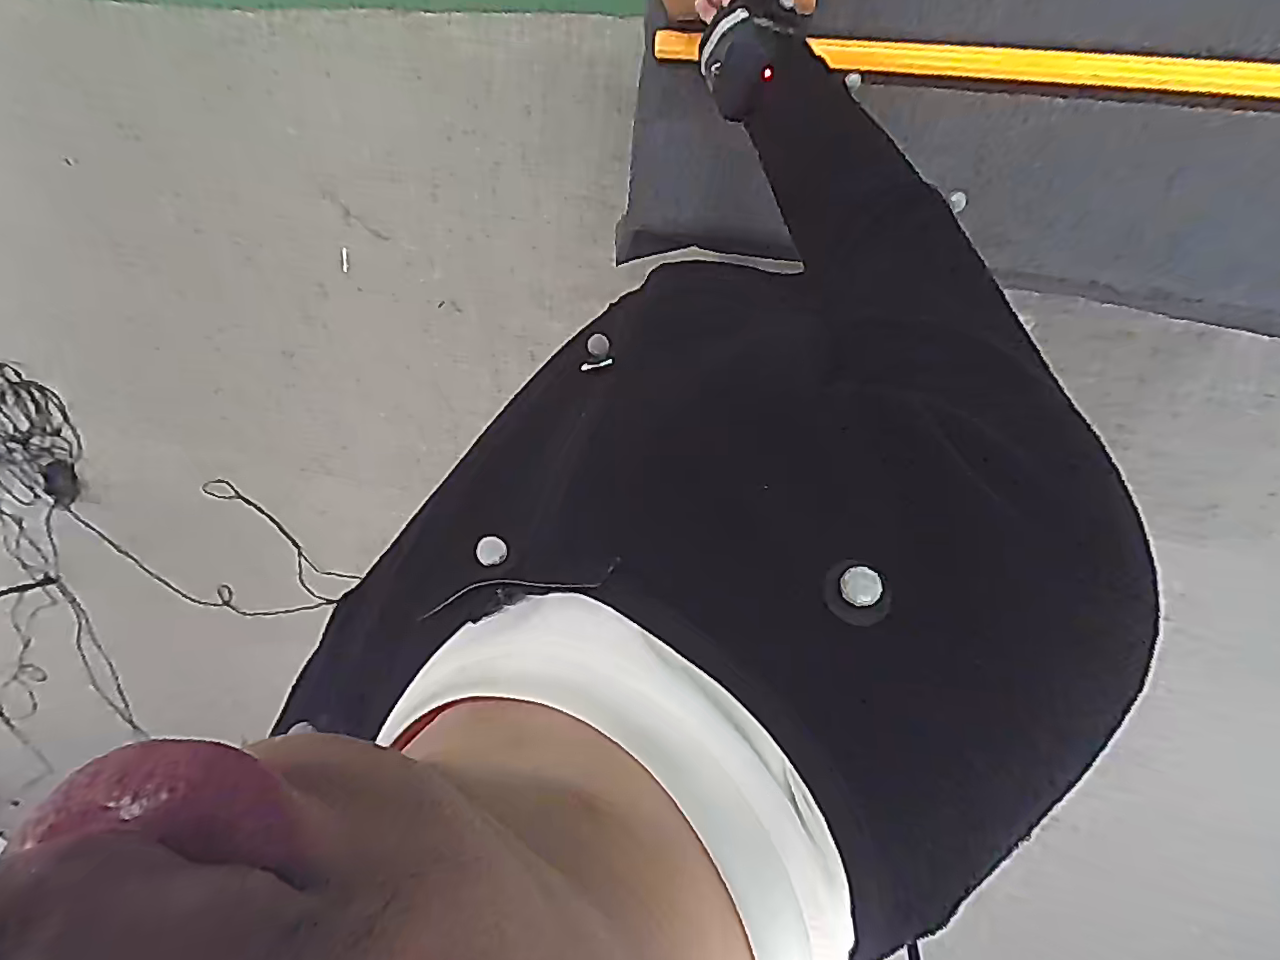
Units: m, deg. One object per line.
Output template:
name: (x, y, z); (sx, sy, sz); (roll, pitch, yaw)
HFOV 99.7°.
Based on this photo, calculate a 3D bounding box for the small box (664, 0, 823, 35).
small box: (0.105, -0.578, 0.534); (0.168, 0.176, 0.179); (4, 109, 14)
